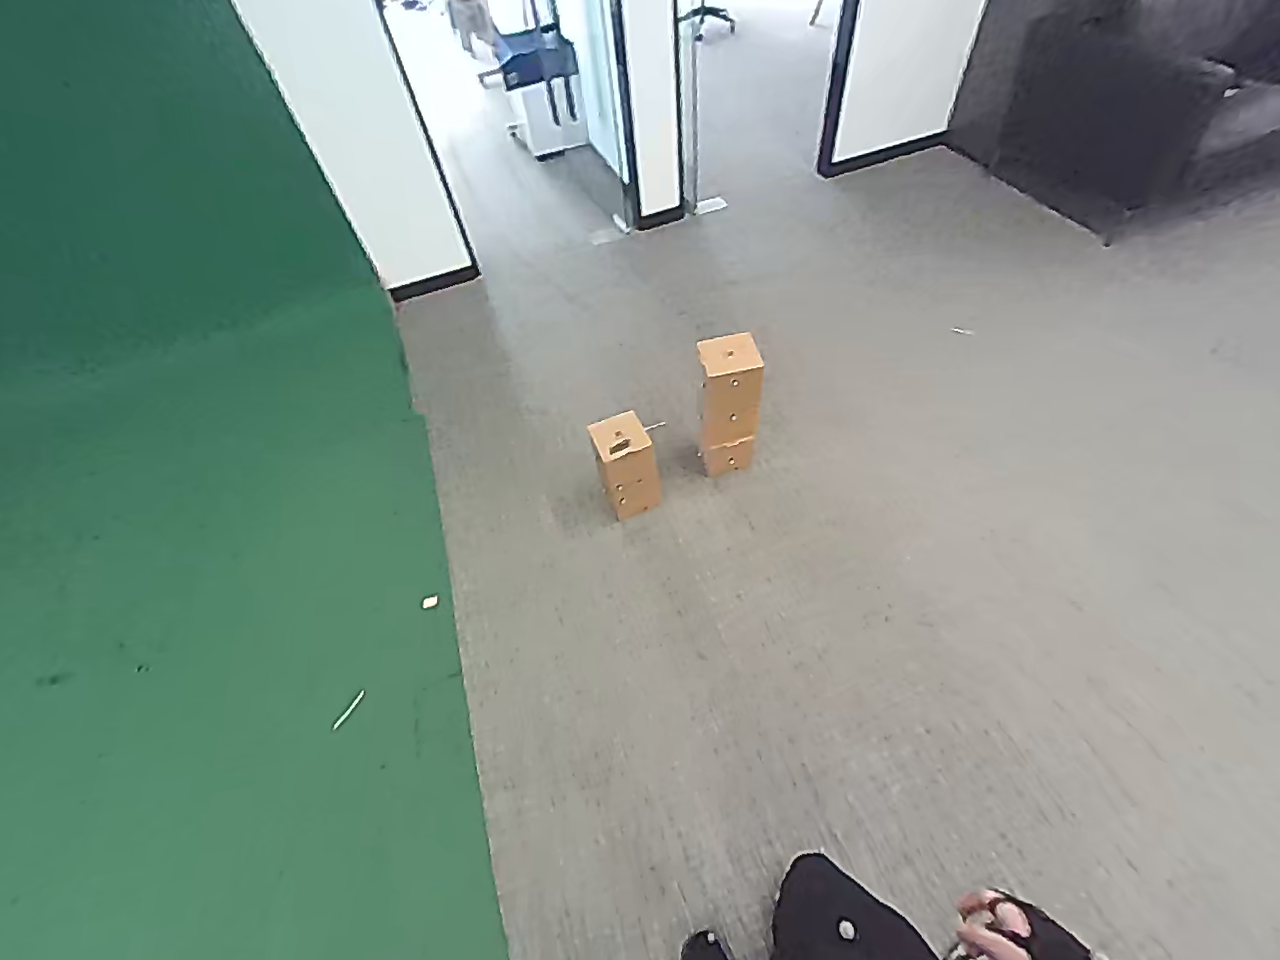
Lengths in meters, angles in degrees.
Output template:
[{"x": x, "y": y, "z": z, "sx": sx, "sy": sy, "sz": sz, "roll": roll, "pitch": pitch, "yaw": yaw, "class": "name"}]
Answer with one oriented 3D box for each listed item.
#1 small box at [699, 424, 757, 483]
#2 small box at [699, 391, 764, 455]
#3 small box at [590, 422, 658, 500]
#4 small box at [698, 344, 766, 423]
[{"x": 0.319, "y": -0.105, "z": 1.980, "sx": 0.168, "sy": 0.176, "sz": 0.179, "roll": -13, "pitch": 53, "yaw": -4, "class": "small box"}, {"x": 0.309, "y": -0.213, "z": 1.859, "sx": 0.179, "sy": 0.176, "sz": 0.168, "roll": -15, "pitch": 52, "yaw": -3, "class": "small box"}, {"x": -0.047, "y": -0.056, "z": 1.782, "sx": 0.168, "sy": 0.176, "sz": 0.179, "roll": -21, "pitch": 51, "yaw": -9, "class": "small box"}, {"x": 0.290, "y": -0.303, "z": 1.724, "sx": 0.179, "sy": 0.176, "sz": 0.168, "roll": -11, "pitch": 53, "yaw": -1, "class": "small box"}]
